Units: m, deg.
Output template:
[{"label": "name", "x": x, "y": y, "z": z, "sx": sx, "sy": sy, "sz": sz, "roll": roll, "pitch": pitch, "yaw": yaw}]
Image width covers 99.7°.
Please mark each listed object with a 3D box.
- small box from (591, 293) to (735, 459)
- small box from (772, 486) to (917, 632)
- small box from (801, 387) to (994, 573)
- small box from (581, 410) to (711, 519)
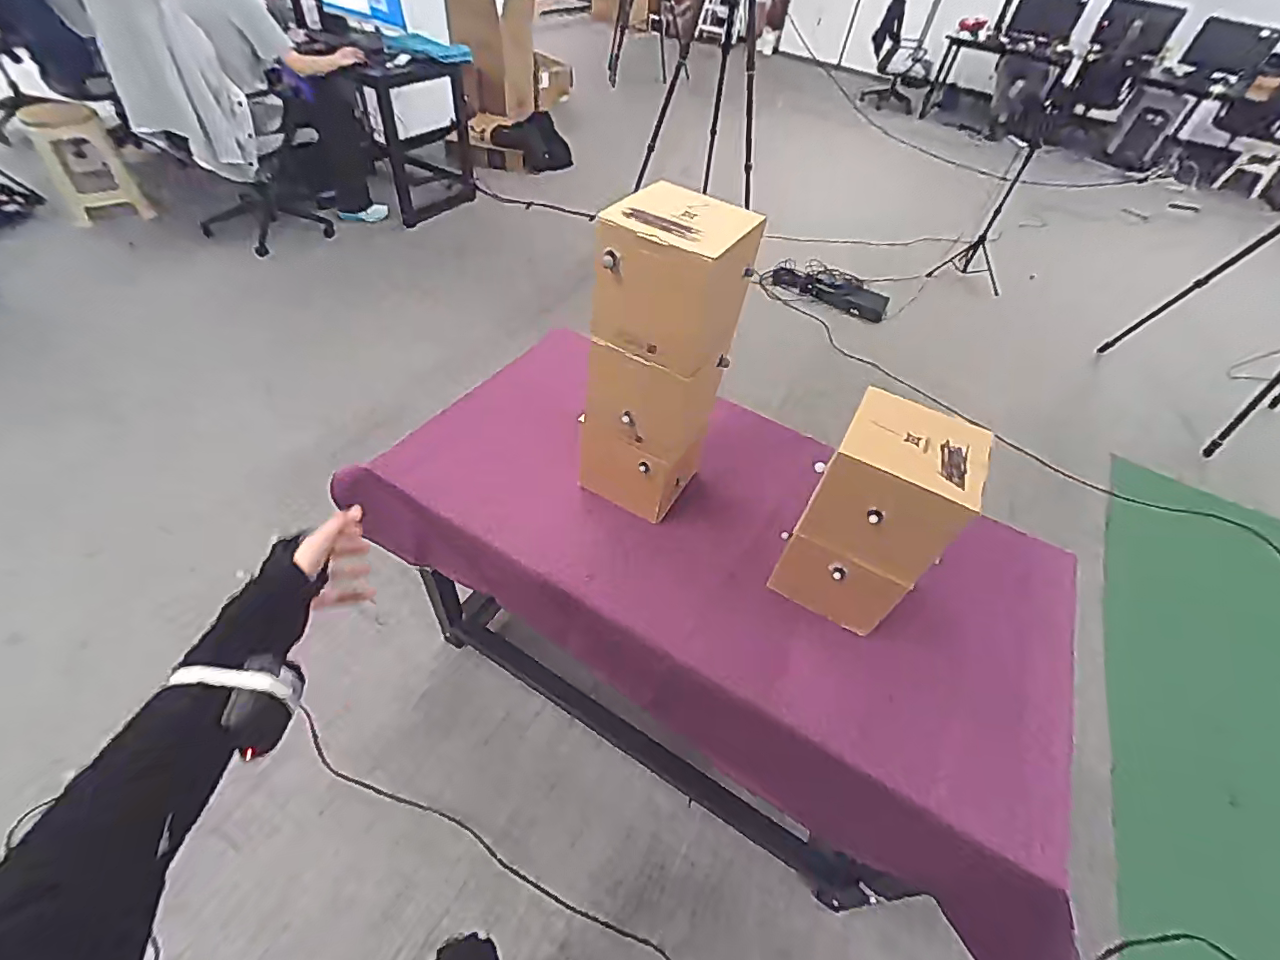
[{"label": "small box", "x": 0.030, "y": -0.167, "z": 0.872, "sx": 0.168, "sy": 0.176, "sz": 0.179, "roll": 26, "pitch": 50, "yaw": 15}, {"label": "small box", "x": 0.337, "y": 0.115, "z": 0.880, "sx": 0.179, "sy": 0.176, "sz": 0.168, "roll": 28, "pitch": 51, "yaw": 16}, {"label": "small box", "x": 0.354, "y": 0.005, "z": 0.760, "sx": 0.179, "sy": 0.176, "sz": 0.168, "roll": 26, "pitch": 50, "yaw": 17}, {"label": "small box", "x": 0.004, "y": -0.058, "z": 0.993, "sx": 0.179, "sy": 0.176, "sz": 0.168, "roll": 26, "pitch": 50, "yaw": 14}]
